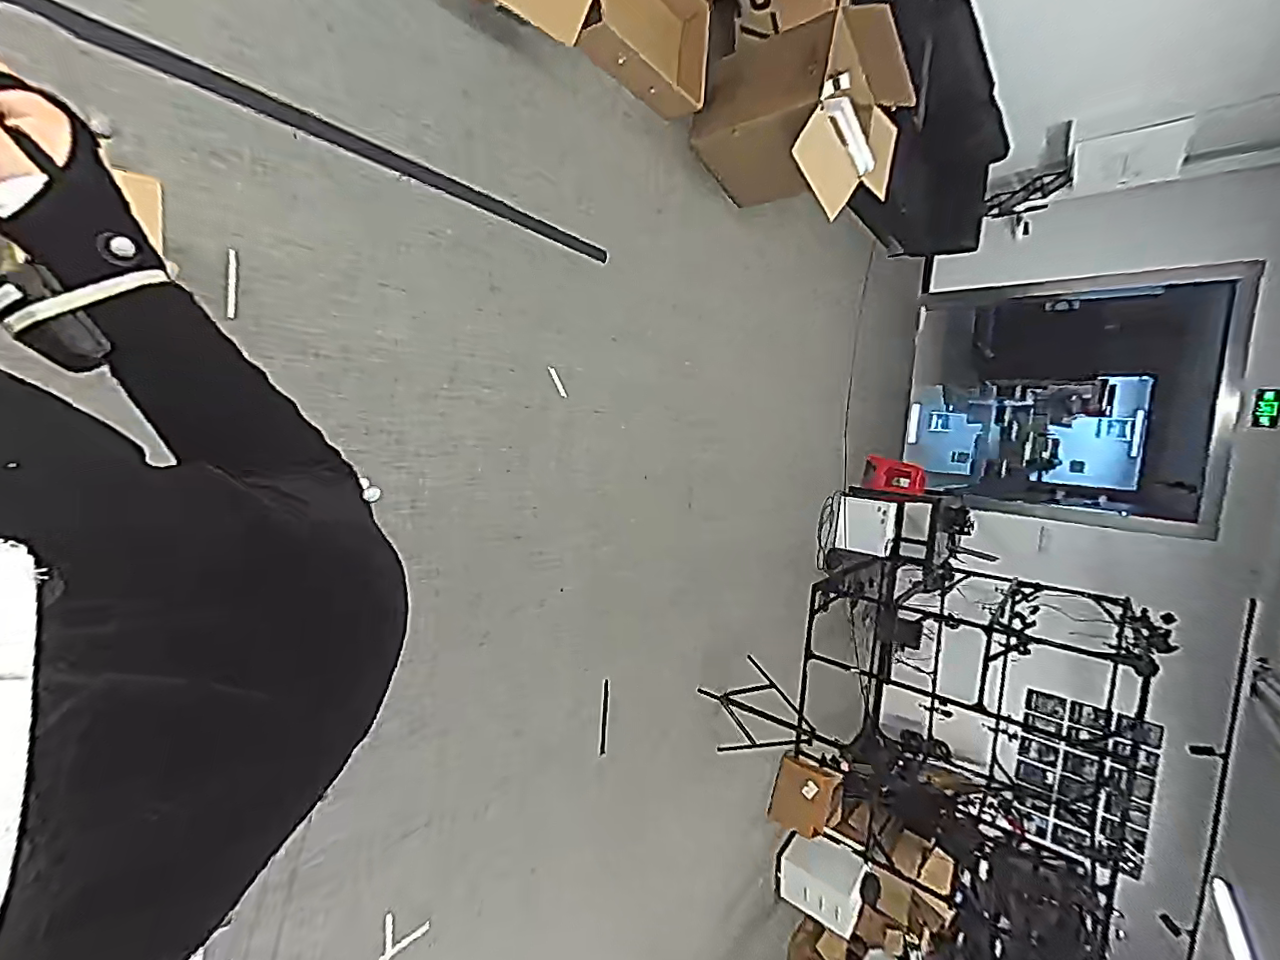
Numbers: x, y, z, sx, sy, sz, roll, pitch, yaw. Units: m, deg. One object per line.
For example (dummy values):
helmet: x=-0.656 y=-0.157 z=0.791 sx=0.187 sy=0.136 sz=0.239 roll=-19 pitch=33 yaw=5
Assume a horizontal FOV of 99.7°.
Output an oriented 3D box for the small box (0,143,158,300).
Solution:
small box: x=-0.914 y=-0.405 z=0.883 sx=0.168 sy=0.176 sz=0.179 roll=-4 pitch=101 yaw=-50

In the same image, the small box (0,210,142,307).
small box: x=-1.038 y=-0.422 z=0.987 sx=0.179 sy=0.176 sz=0.168 roll=3 pitch=94 yaw=-53
